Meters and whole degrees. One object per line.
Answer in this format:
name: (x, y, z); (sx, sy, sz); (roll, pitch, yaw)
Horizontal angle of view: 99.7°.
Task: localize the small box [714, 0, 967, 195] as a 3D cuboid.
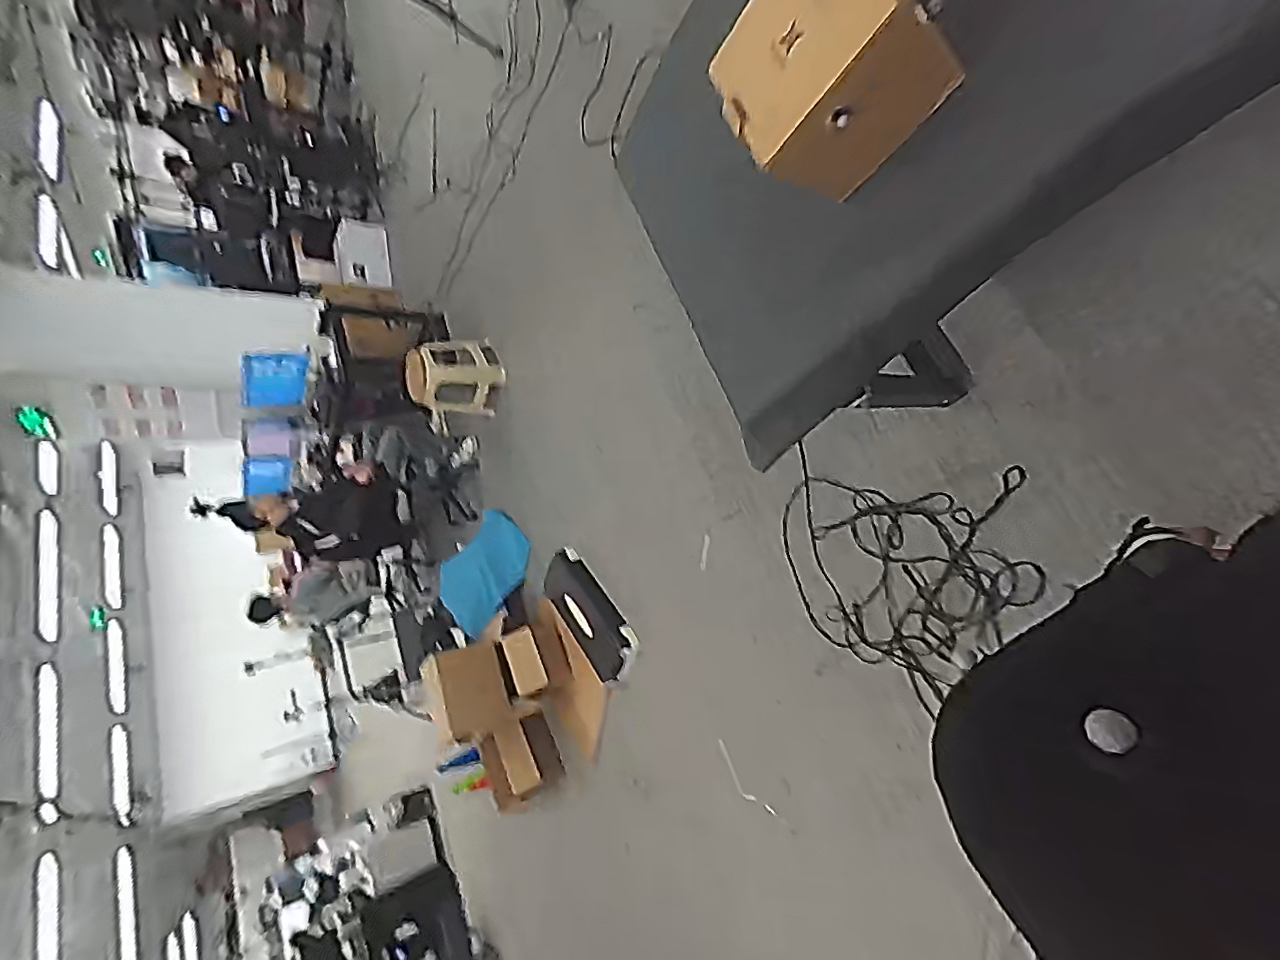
small box: (0.222, -0.461, 0.611); (0.179, 0.176, 0.168); (-39, 66, 46)
